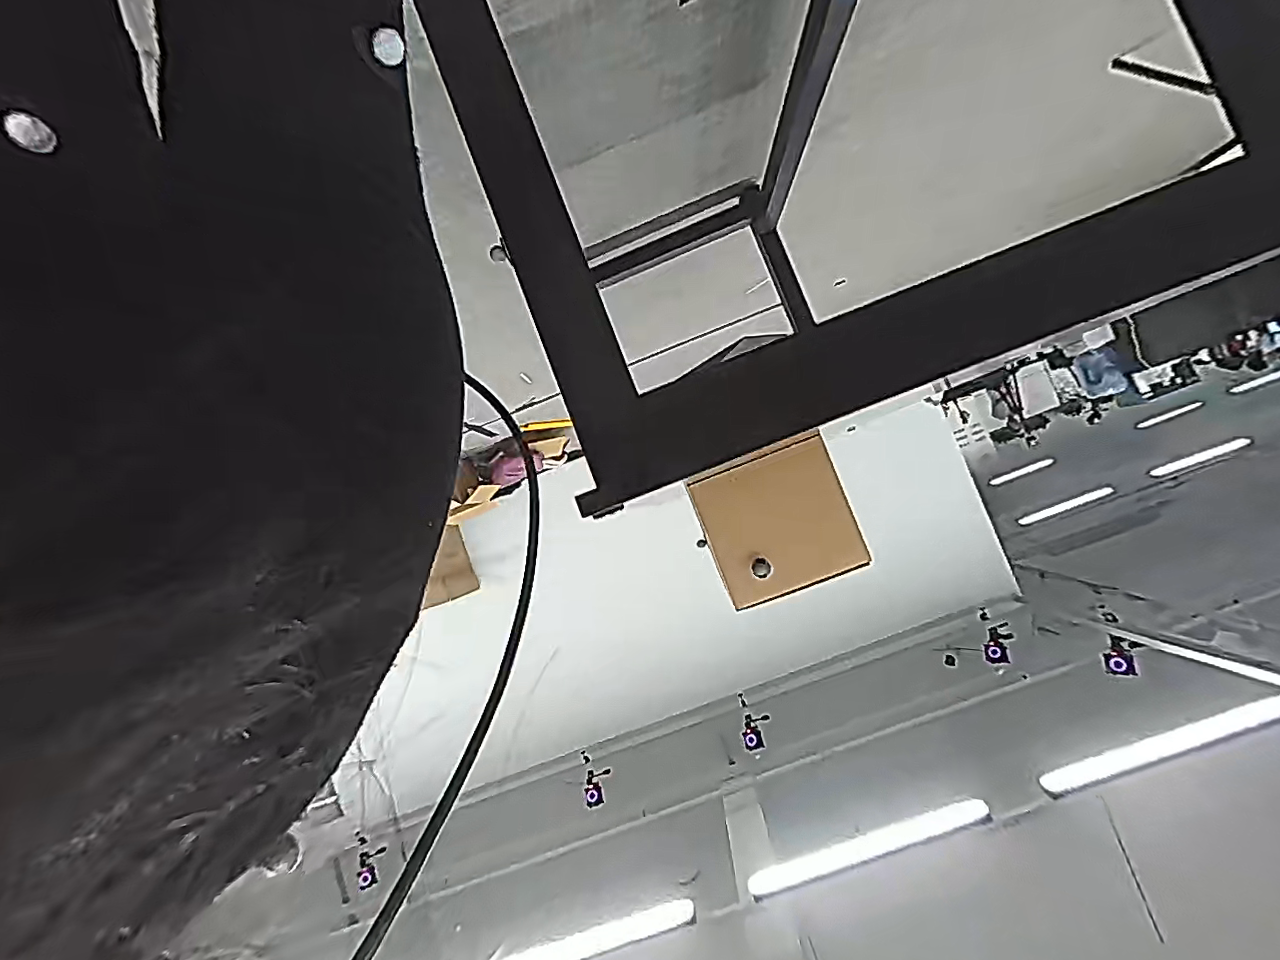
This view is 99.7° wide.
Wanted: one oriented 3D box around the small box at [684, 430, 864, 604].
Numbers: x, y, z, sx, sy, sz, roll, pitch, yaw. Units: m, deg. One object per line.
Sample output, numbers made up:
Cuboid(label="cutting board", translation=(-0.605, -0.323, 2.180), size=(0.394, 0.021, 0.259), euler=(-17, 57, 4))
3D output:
Cuboid(label="small box", translation=(0.167, 0.047, 0.740), size=(0.179, 0.176, 0.168), euler=(-23, 177, 3))
